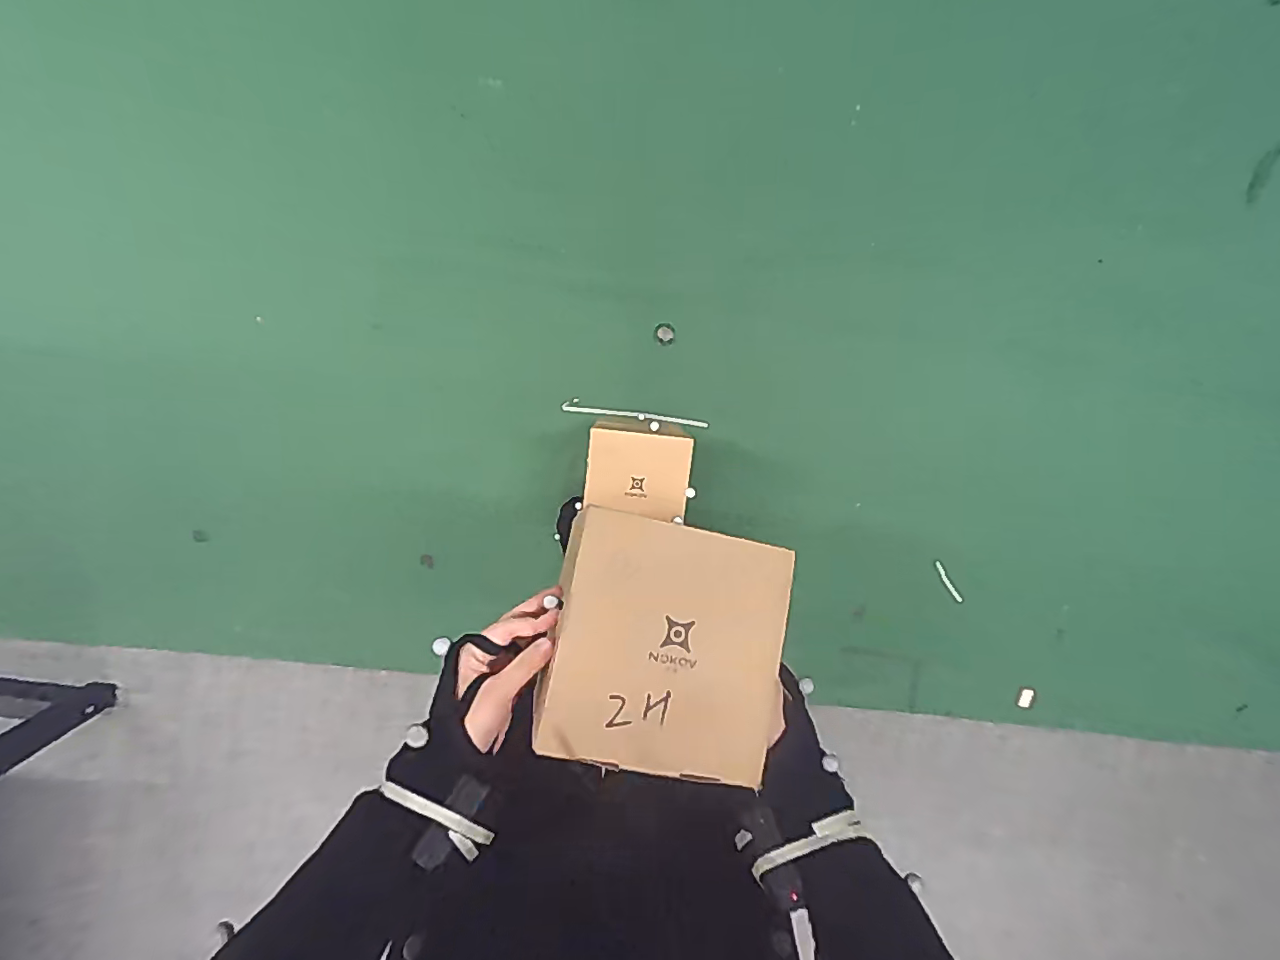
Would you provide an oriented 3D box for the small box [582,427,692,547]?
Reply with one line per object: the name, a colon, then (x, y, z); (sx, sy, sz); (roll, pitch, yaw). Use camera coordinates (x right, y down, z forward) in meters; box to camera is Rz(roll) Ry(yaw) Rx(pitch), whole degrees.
small box: (-0.009, 0.004, 0.945); (0.168, 0.176, 0.179); (5, 100, -2)
